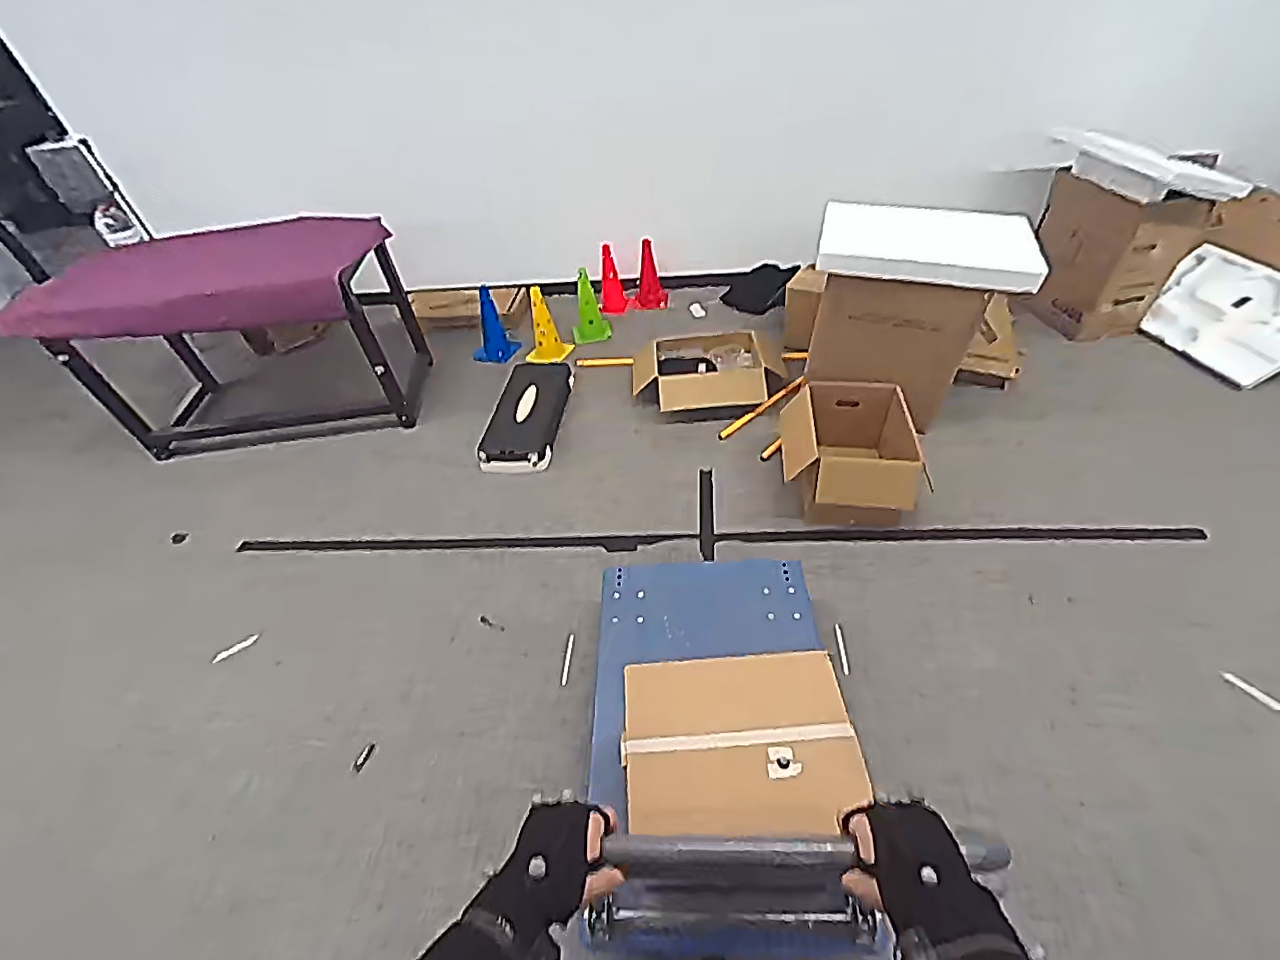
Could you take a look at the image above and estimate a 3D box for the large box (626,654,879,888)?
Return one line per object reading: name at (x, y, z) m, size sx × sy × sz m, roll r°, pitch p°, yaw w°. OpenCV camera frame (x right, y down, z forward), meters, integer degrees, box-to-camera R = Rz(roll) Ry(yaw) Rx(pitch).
large box at (0.187, 0.577, 1.073) m, size 0.408 × 0.320 × 0.320 m, roll -4°, pitch 45°, yaw 0°
